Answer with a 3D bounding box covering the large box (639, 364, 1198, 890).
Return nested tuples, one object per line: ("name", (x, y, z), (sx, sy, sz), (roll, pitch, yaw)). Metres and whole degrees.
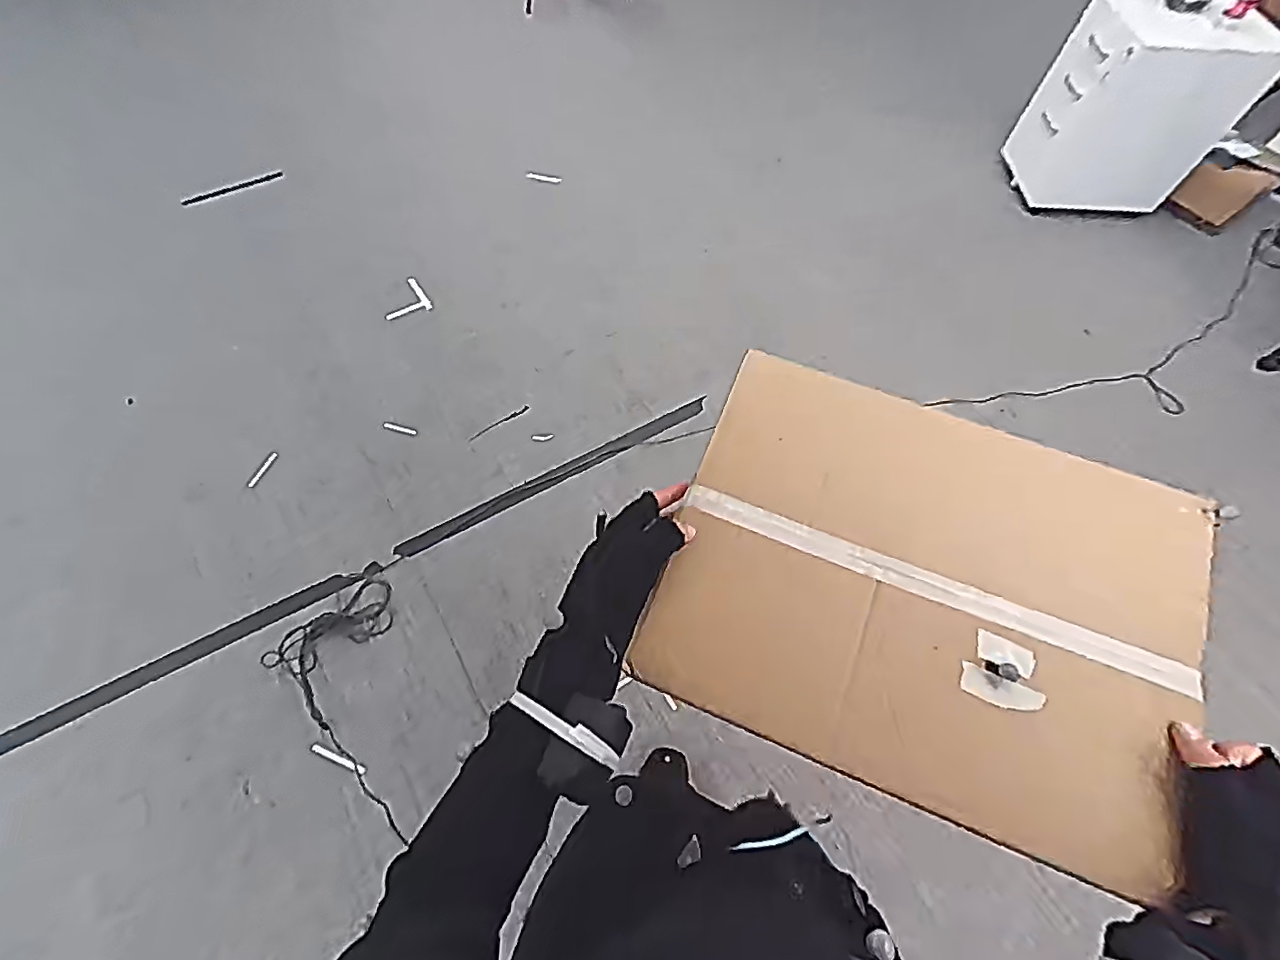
("large box", (0.240, 0.134, 0.589), (0.408, 0.320, 0.320), (21, 75, 9))
